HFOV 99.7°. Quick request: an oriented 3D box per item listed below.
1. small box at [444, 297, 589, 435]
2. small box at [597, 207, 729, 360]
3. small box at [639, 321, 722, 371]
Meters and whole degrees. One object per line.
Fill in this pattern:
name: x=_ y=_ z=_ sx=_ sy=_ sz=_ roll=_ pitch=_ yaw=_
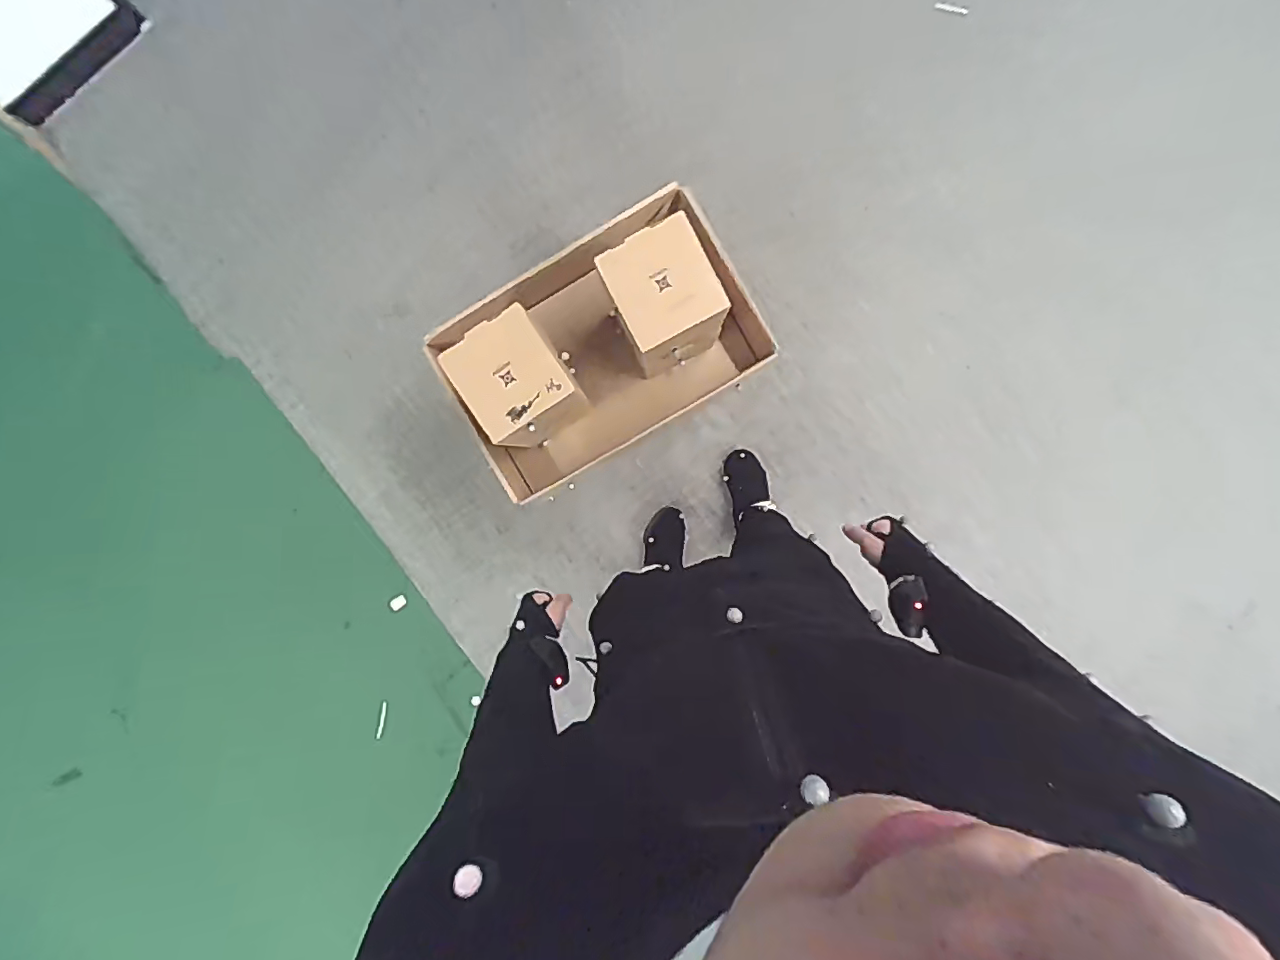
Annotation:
small box: x=-0.213 y=-0.193 z=0.979 sx=0.168 sy=0.176 sz=0.179 roll=-33 pitch=91 yaw=5
small box: x=0.040 y=-0.335 z=0.959 sx=0.168 sy=0.176 sz=0.179 roll=-27 pitch=91 yaw=4
small box: x=0.054 y=-0.346 z=1.122 sx=0.168 sy=0.176 sz=0.179 roll=-26 pitch=92 yaw=5
